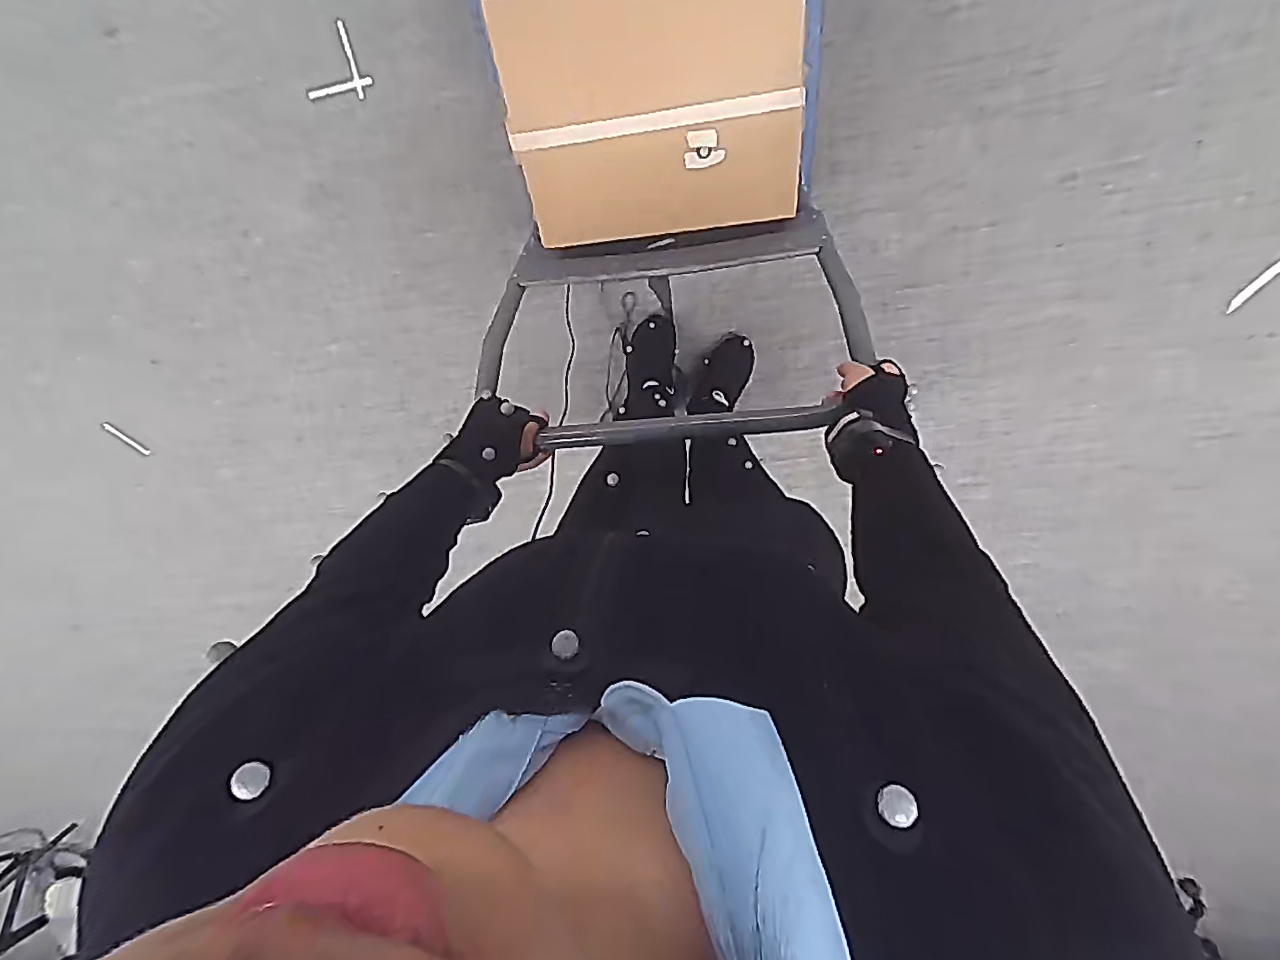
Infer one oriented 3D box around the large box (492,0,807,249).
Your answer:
[{"bbox_3d":[0.030,-0.608,0.872,0.408,0.320,0.320,-4,133,7],"label":"large box"}]
